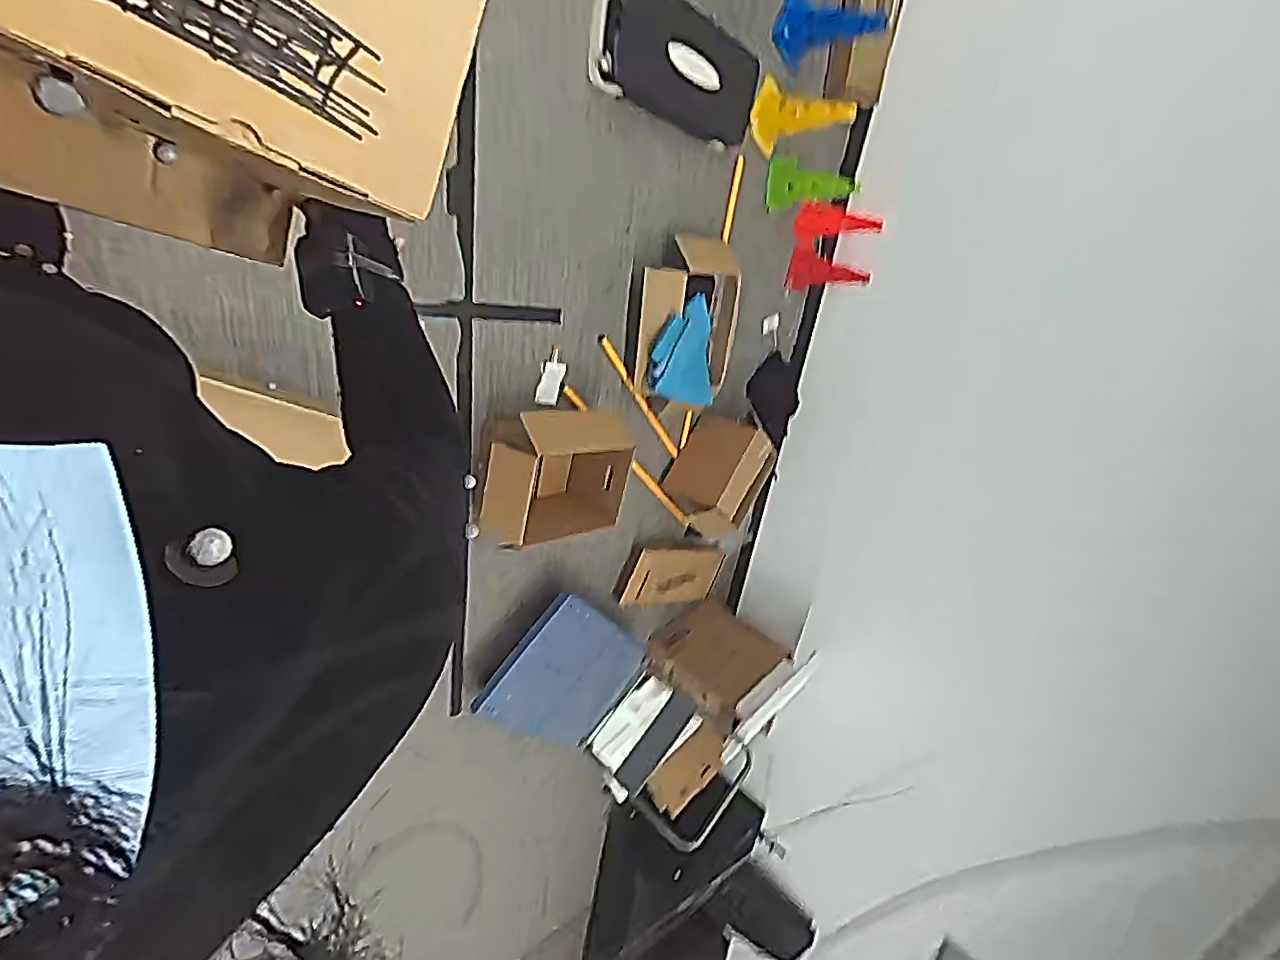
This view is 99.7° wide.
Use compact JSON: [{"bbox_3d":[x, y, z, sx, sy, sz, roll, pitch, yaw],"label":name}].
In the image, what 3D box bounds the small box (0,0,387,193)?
[{"bbox_3d":[-0.292,-0.323,0.362,0.168,0.176,0.179,6,109,-48],"label":"small box"}]
